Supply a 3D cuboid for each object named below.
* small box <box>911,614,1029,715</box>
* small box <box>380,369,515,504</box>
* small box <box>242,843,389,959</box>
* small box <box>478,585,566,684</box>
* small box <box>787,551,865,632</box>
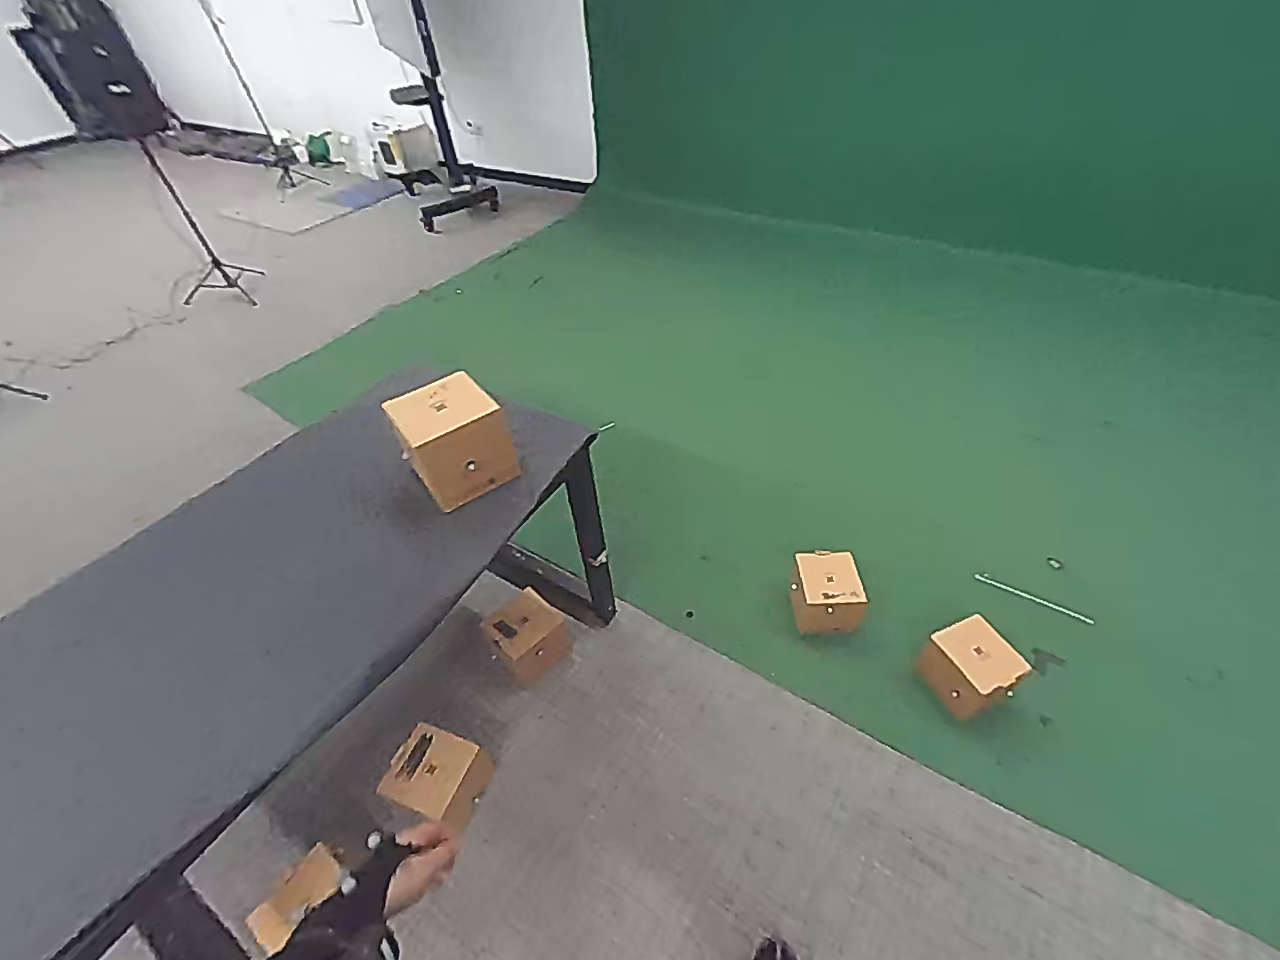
[{"bbox_3d":[0.855,0.492,1.420,0.168,0.176,0.179,-18,47,-15],"label":"small box"},{"bbox_3d":[-0.361,-0.078,1.033,0.168,0.176,0.179,-30,49,-23],"label":"small box"},{"bbox_3d":[-0.661,0.903,1.123,0.179,0.176,0.168,26,53,26],"label":"small box"},{"bbox_3d":[-0.329,0.444,1.545,0.168,0.176,0.179,34,55,31],"label":"small box"},{"bbox_3d":[0.540,0.331,1.599,0.168,0.176,0.179,-2,45,2],"label":"small box"}]
